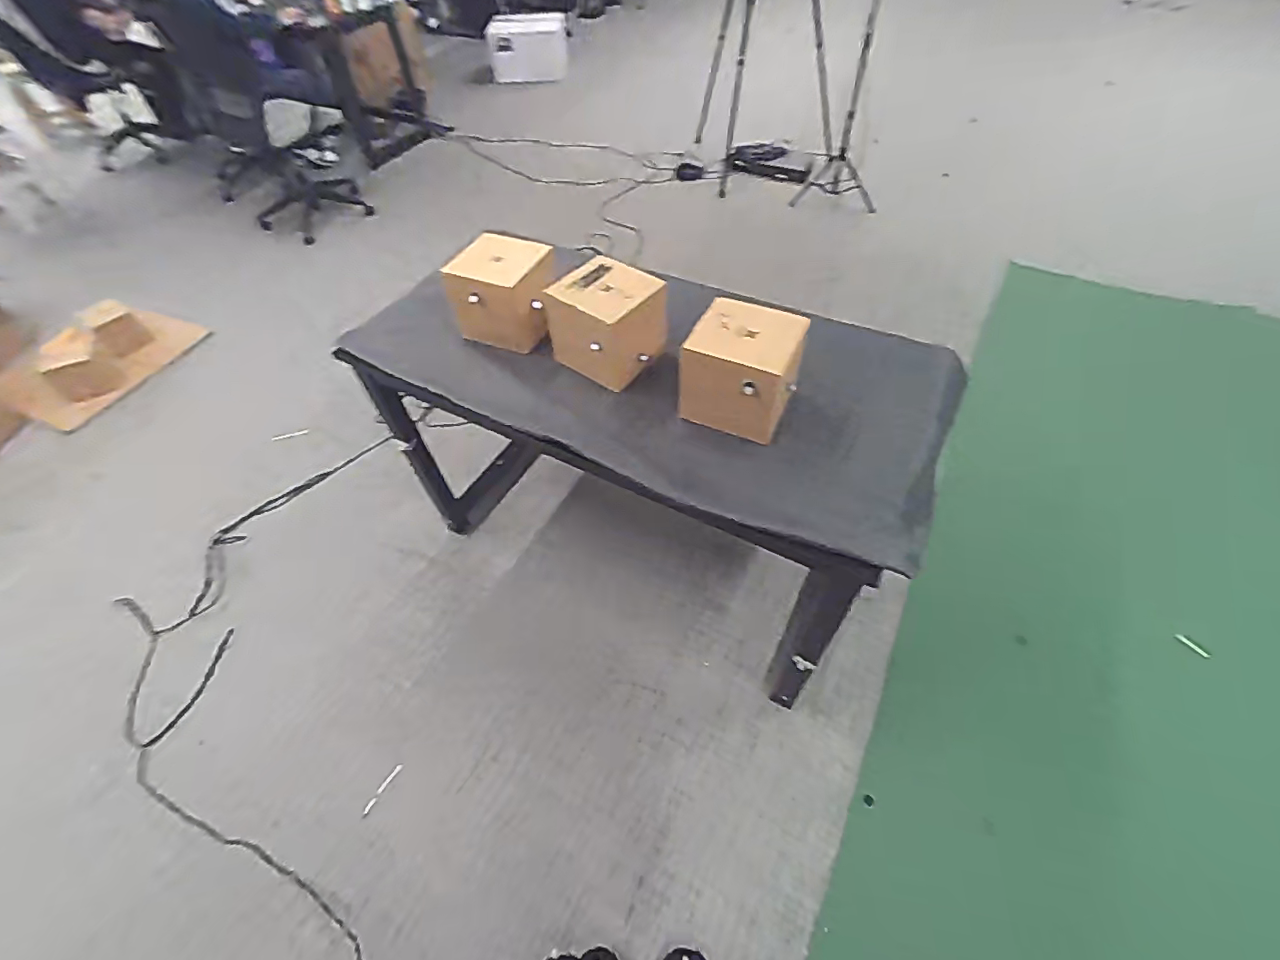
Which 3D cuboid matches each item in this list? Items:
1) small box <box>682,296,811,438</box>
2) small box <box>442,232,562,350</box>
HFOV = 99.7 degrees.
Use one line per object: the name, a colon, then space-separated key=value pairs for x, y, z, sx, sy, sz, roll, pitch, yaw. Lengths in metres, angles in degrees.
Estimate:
small box: x=0.189 y=-0.201 z=0.986 sx=0.179 sy=0.176 sz=0.168 roll=21 pitch=55 yaw=18
small box: x=-0.287 y=-0.407 z=1.177 sx=0.179 sy=0.176 sz=0.168 roll=18 pitch=55 yaw=16
